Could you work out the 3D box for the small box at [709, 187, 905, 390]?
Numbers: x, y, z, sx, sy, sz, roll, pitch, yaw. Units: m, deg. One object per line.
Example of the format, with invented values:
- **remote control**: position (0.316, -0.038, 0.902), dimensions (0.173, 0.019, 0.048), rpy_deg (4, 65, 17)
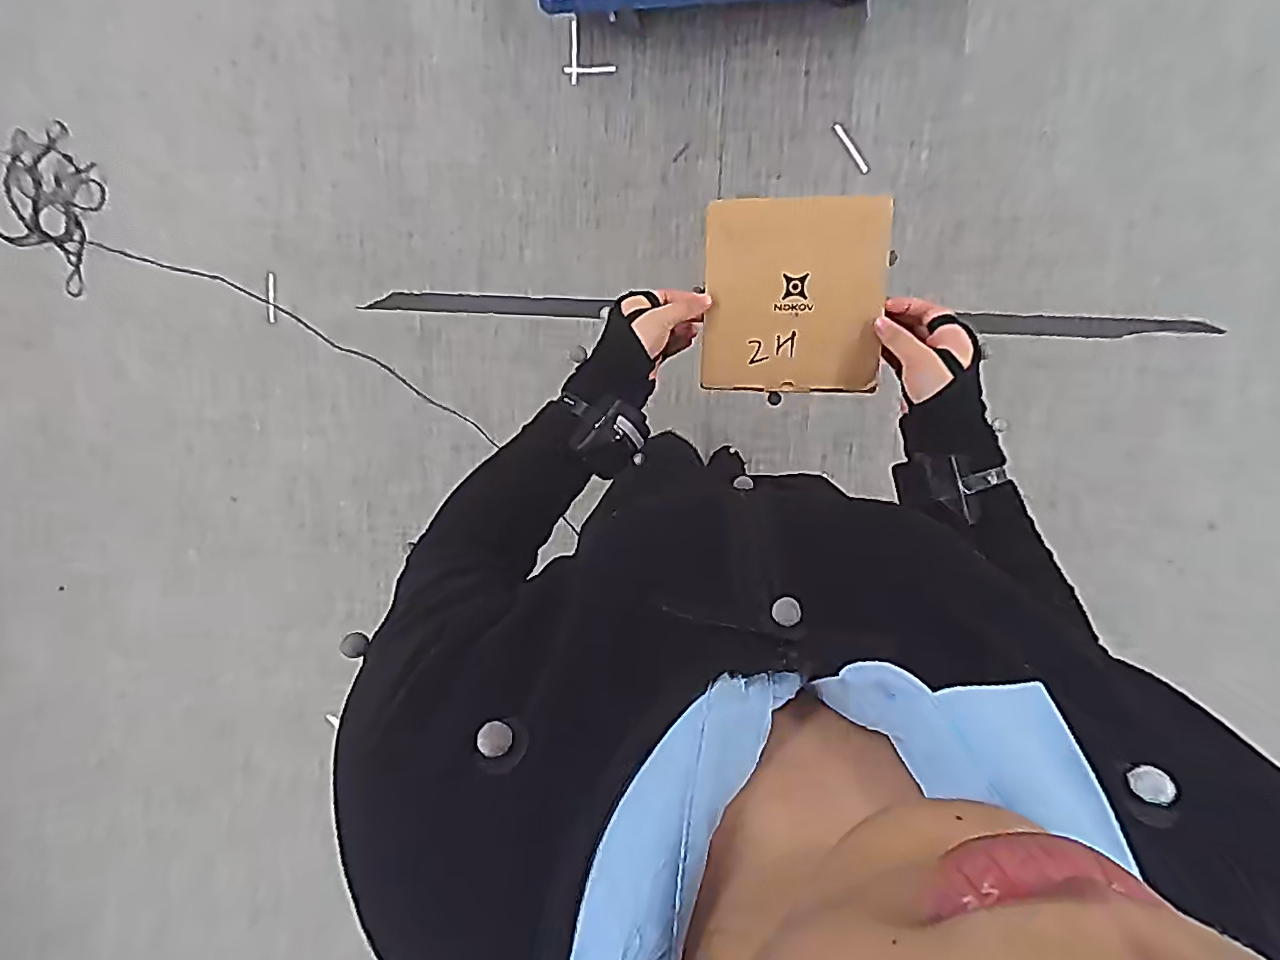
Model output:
- **small box**: position (0.160, -0.188, 0.574), dimensions (0.168, 0.176, 0.179), rpy_deg (3, 100, 8)
